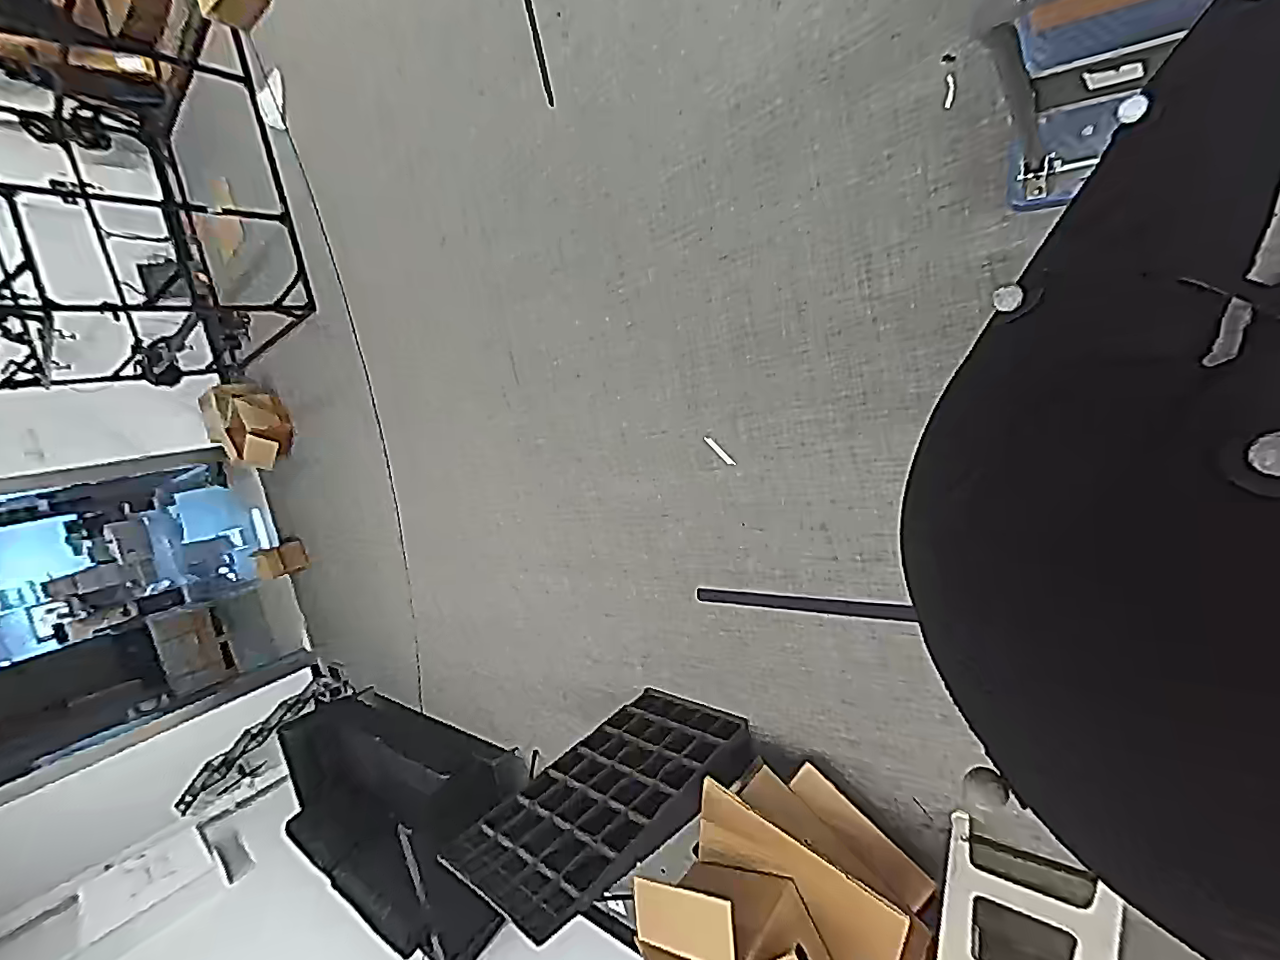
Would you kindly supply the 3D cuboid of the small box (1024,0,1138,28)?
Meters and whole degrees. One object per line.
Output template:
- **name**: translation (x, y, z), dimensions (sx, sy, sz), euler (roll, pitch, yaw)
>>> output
- **small box**: translation (0.693, -0.829, 0.813), dimensions (0.179, 0.176, 0.168), euler (11, 109, 37)
